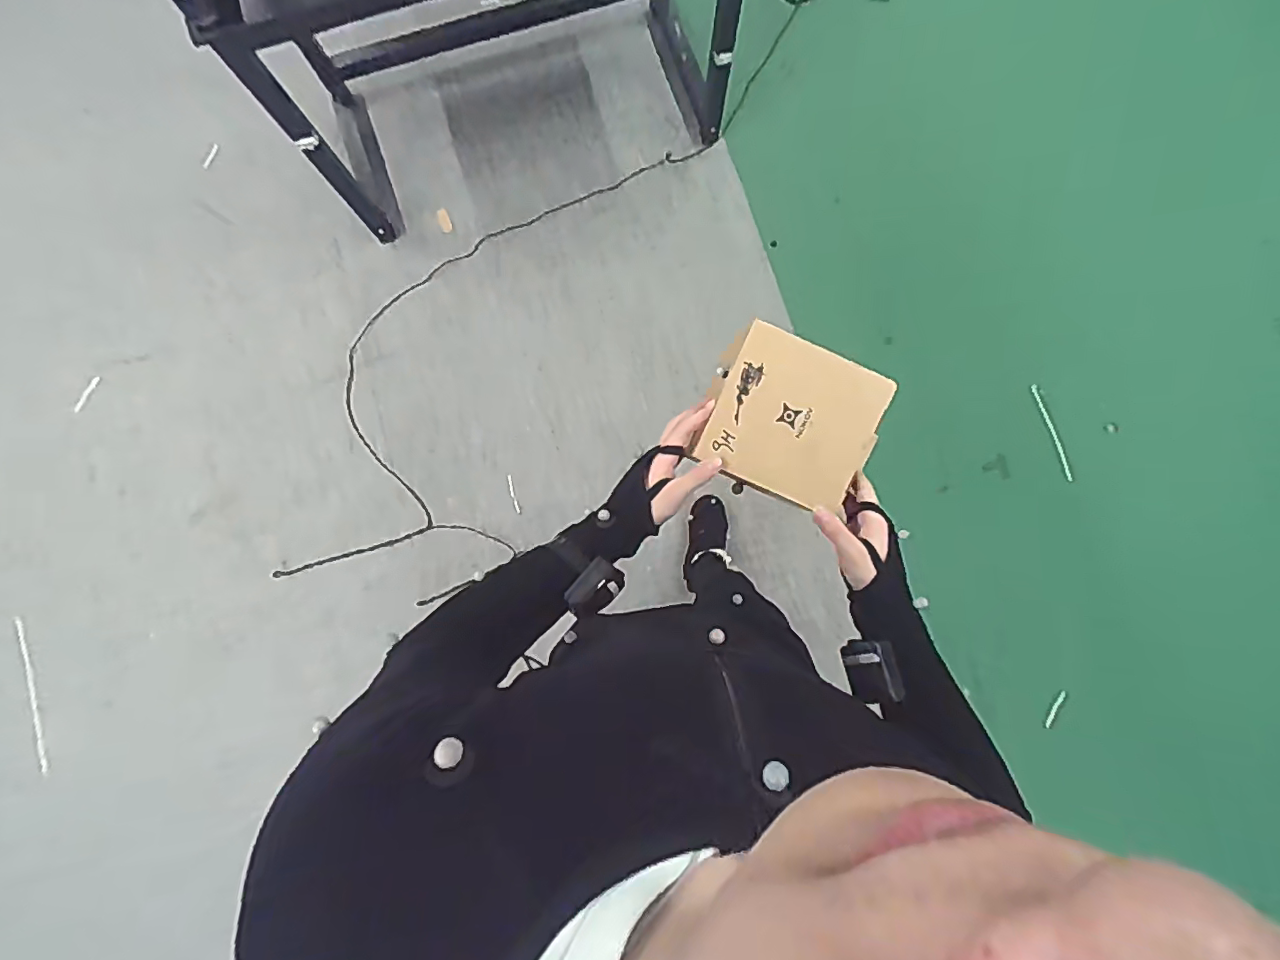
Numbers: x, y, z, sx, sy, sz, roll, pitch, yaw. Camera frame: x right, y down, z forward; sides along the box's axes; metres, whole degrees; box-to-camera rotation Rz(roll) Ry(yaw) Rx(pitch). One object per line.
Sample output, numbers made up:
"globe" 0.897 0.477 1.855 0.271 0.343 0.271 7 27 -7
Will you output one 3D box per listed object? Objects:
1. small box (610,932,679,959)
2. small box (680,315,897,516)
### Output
"small box" 0.025 1.282 1.342 0.168 0.176 0.179 -31 83 -4
"small box" 0.165 -0.073 0.661 0.179 0.176 0.168 25 91 -3
